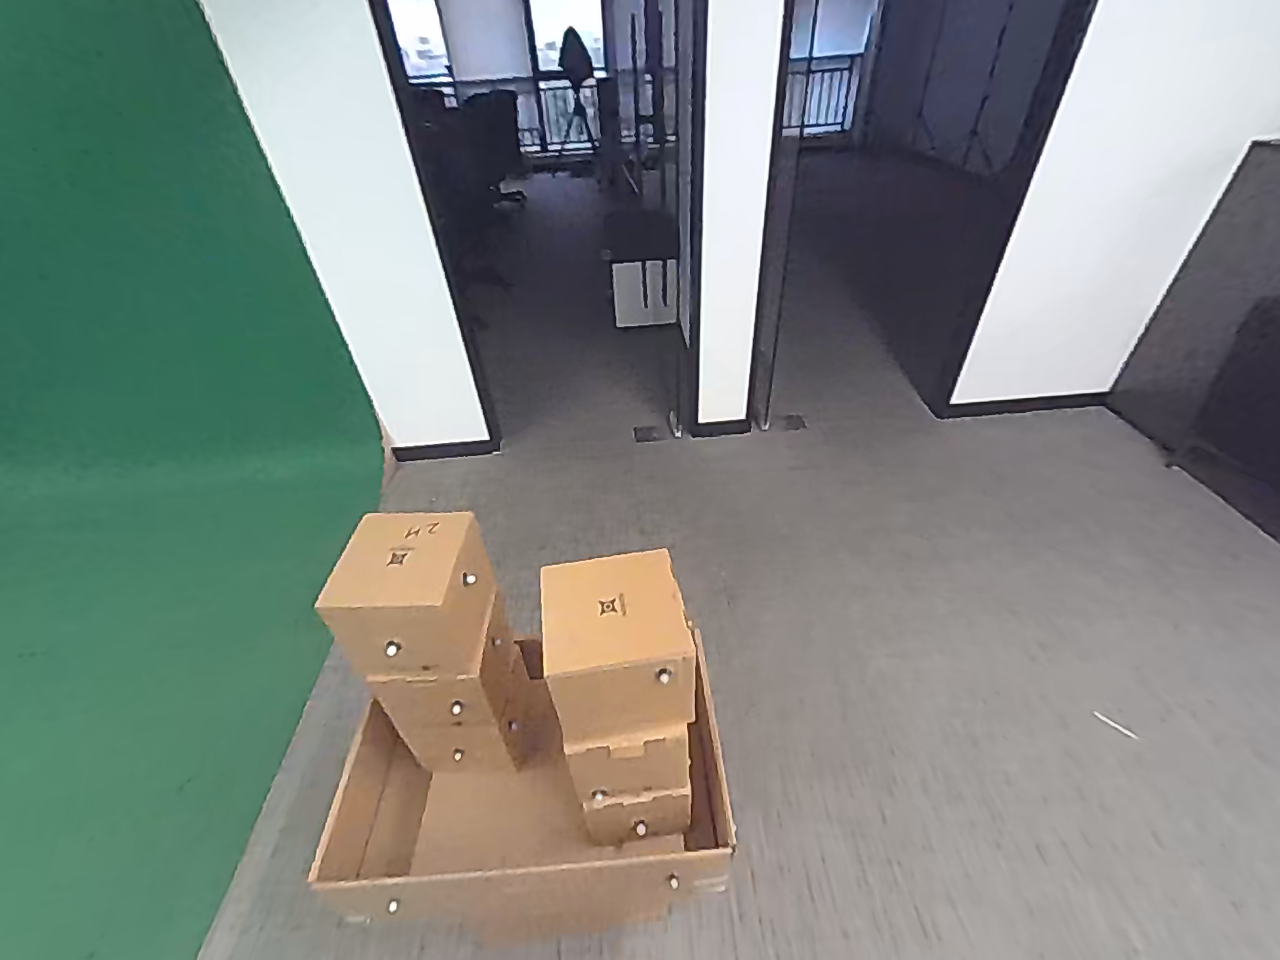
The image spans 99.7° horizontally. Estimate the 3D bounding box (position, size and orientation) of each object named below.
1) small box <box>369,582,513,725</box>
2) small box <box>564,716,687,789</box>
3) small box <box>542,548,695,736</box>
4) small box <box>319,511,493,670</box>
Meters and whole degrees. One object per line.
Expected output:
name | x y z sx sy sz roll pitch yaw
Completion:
small box | -0.317 0.293 0.906 0.168 0.176 0.179 -2 40 0
small box | -0.021 0.346 0.819 0.168 0.176 0.179 -6 40 -3
small box | -0.029 0.217 0.721 0.179 0.176 0.168 -7 40 -6
small box | -0.327 0.165 0.803 0.168 0.176 0.179 0 40 1
